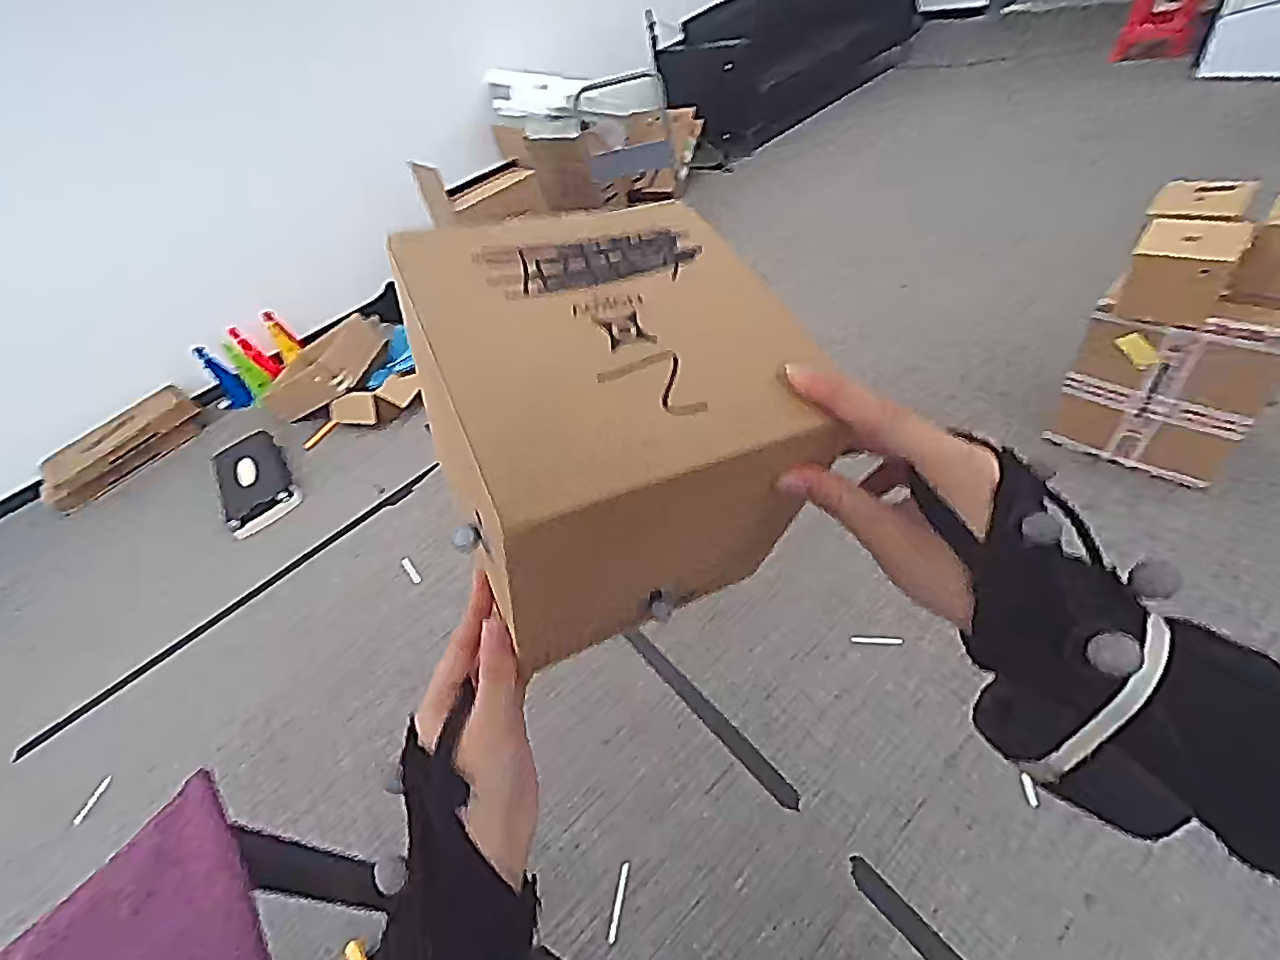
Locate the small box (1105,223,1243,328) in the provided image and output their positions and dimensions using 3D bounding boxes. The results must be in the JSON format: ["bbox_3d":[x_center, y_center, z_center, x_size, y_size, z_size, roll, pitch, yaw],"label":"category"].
[{"bbox_3d":[1.248,-0.482,1.278,0.179,0.176,0.168,26,62,36],"label":"small box"}]

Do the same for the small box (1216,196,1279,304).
[{"bbox_3d":[1.482,-0.523,1.225,0.179,0.176,0.168,-42,51,-19],"label":"small box"}]
